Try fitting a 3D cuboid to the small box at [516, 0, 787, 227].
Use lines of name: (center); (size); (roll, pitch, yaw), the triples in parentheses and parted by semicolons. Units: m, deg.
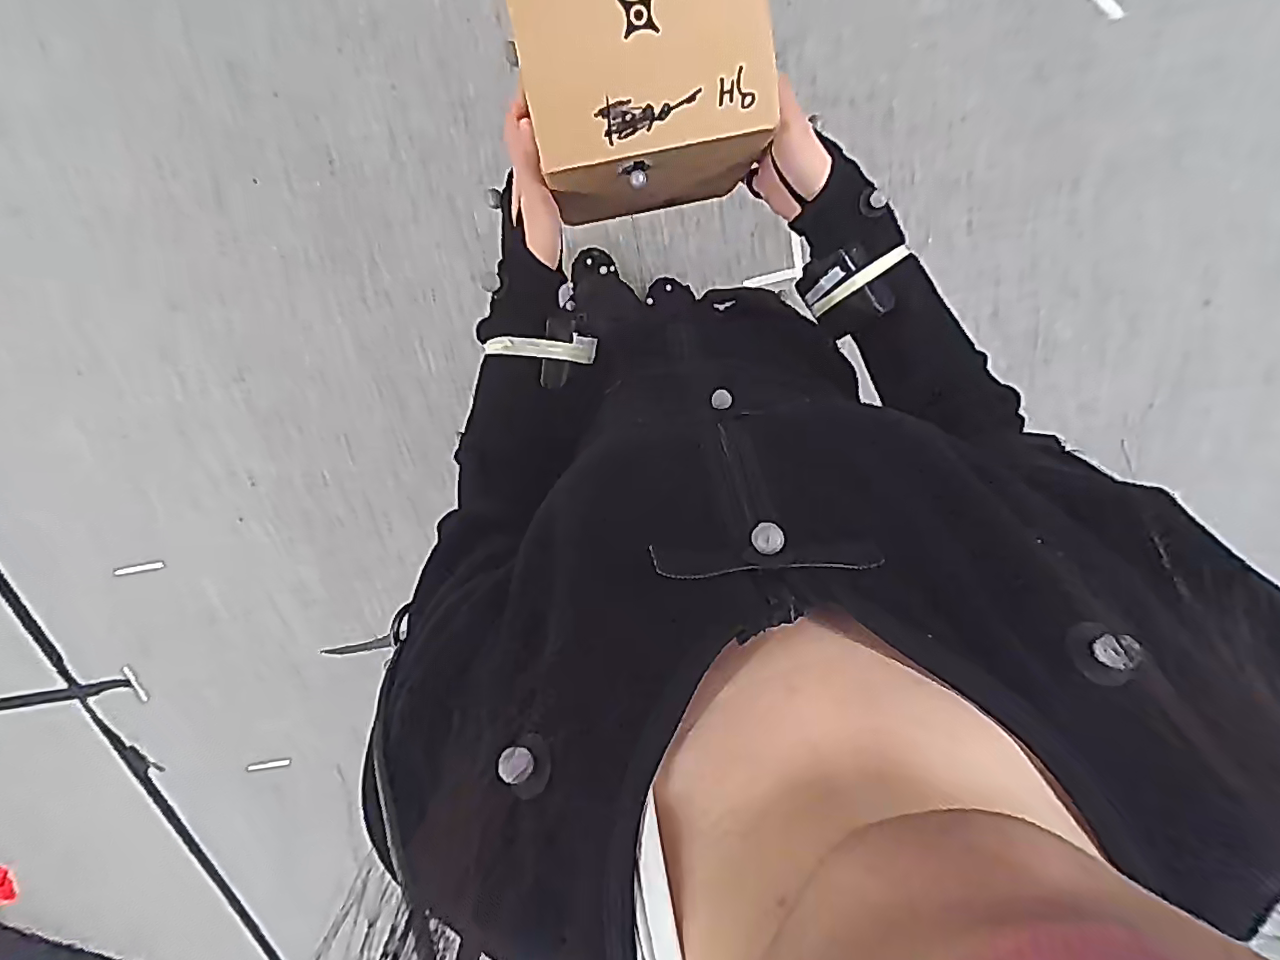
small box: (-0.001, -0.320, 0.419); (0.168, 0.176, 0.179); (-11, 103, 0)
